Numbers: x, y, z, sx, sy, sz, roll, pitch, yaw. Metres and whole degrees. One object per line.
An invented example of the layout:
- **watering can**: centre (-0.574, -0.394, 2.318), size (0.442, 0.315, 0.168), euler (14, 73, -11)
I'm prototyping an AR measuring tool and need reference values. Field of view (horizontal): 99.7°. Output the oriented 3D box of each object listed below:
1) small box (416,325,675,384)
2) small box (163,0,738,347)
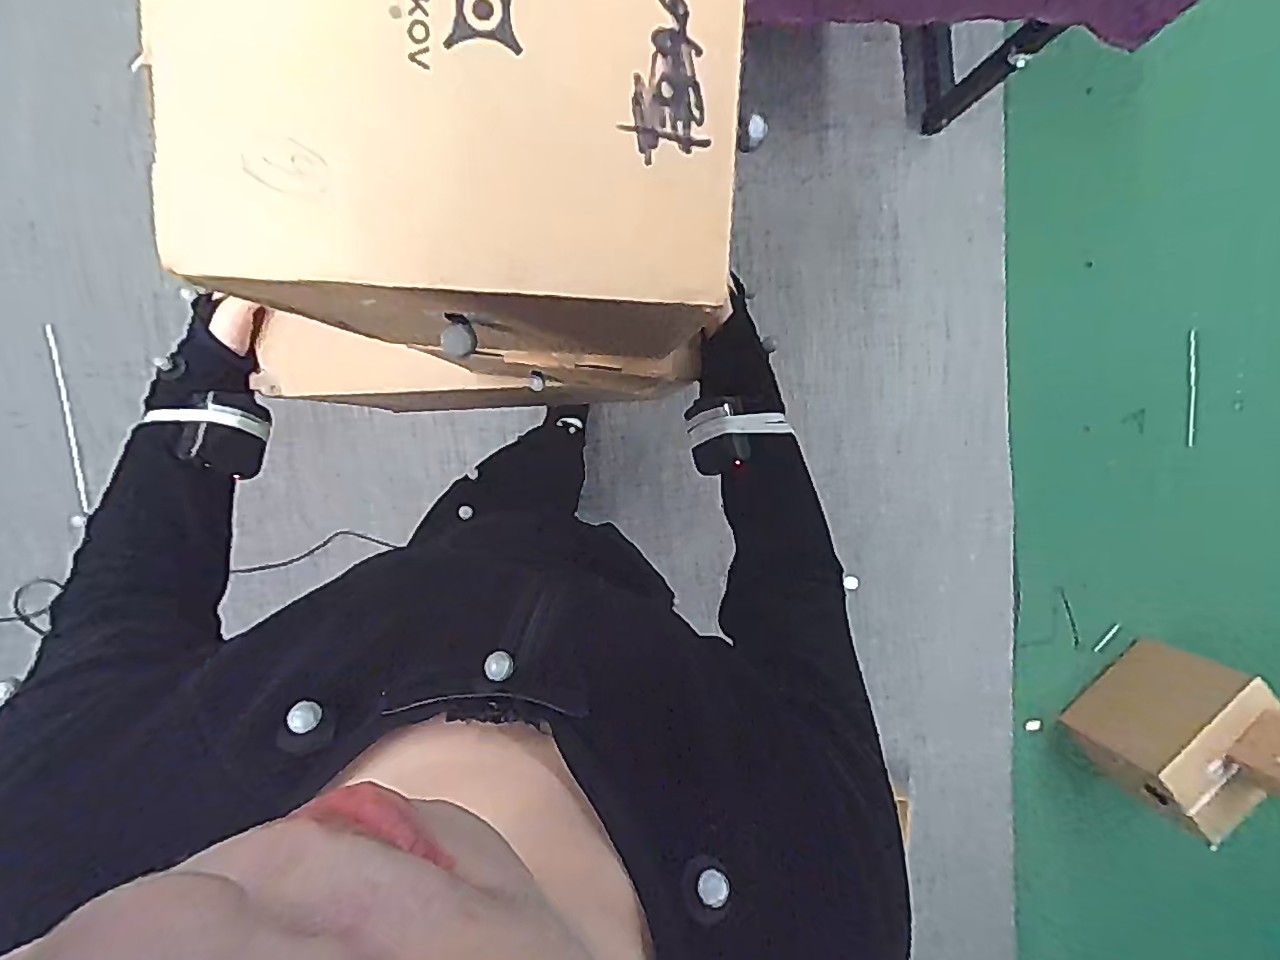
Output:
- **small box**: centre (-0.058, -0.172, 0.408), size (0.168, 0.176, 0.179), euler (6, 98, -5)
- **small box**: centre (-0.060, -0.153, 0.244), size (0.179, 0.176, 0.168), euler (2, 99, -3)
